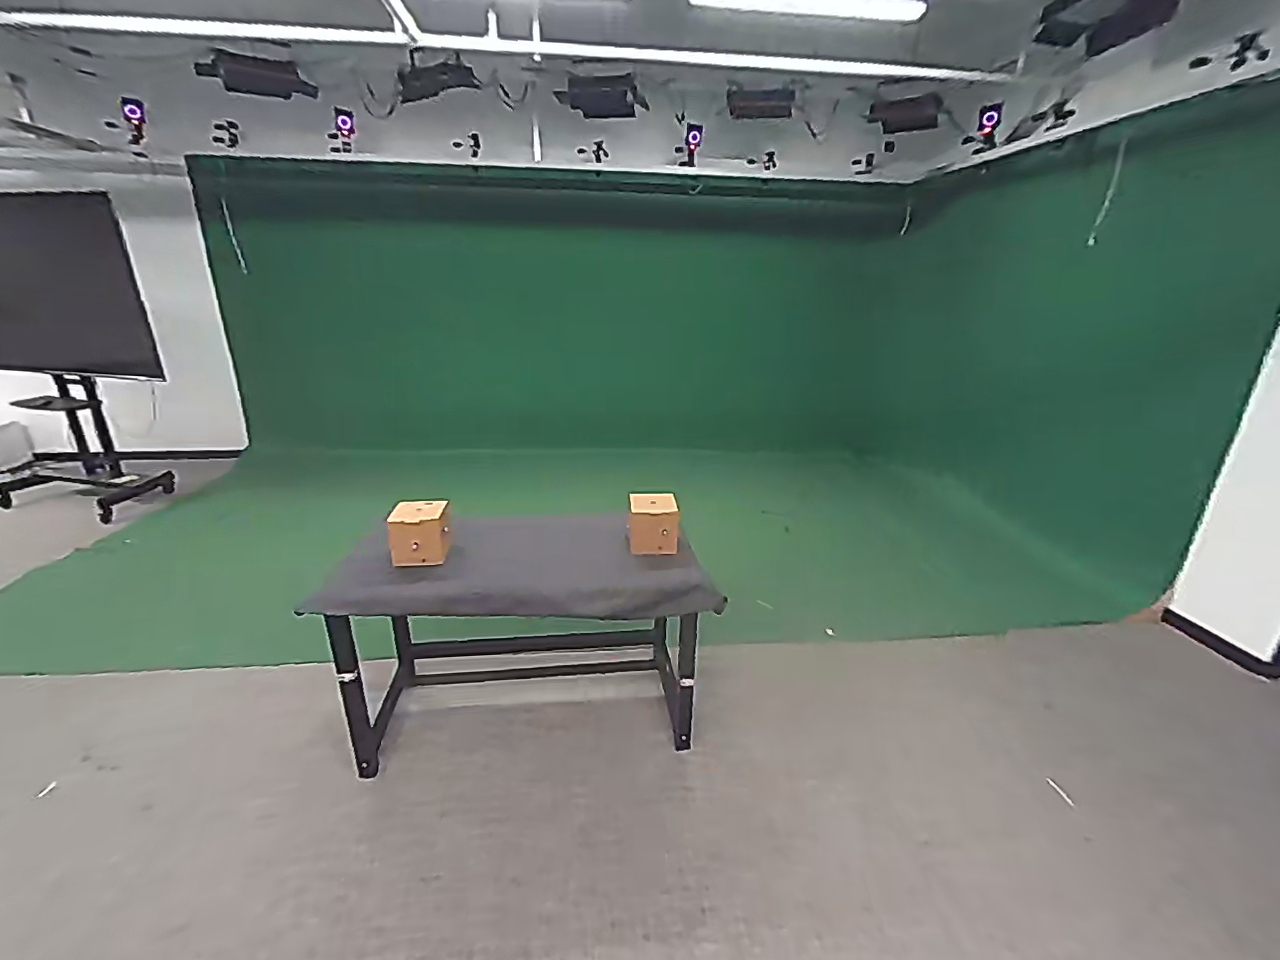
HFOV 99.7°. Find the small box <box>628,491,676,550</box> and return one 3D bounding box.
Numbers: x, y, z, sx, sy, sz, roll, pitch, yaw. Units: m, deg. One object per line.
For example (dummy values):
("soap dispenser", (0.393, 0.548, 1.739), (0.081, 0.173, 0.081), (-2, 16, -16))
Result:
("small box", (0.042, 0.148, 1.986), (0.168, 0.176, 0.179), (1, 20, -5))

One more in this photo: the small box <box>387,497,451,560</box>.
("small box", (-0.758, 0.170, 1.876), (0.168, 0.176, 0.179), (-1, 21, -9))
